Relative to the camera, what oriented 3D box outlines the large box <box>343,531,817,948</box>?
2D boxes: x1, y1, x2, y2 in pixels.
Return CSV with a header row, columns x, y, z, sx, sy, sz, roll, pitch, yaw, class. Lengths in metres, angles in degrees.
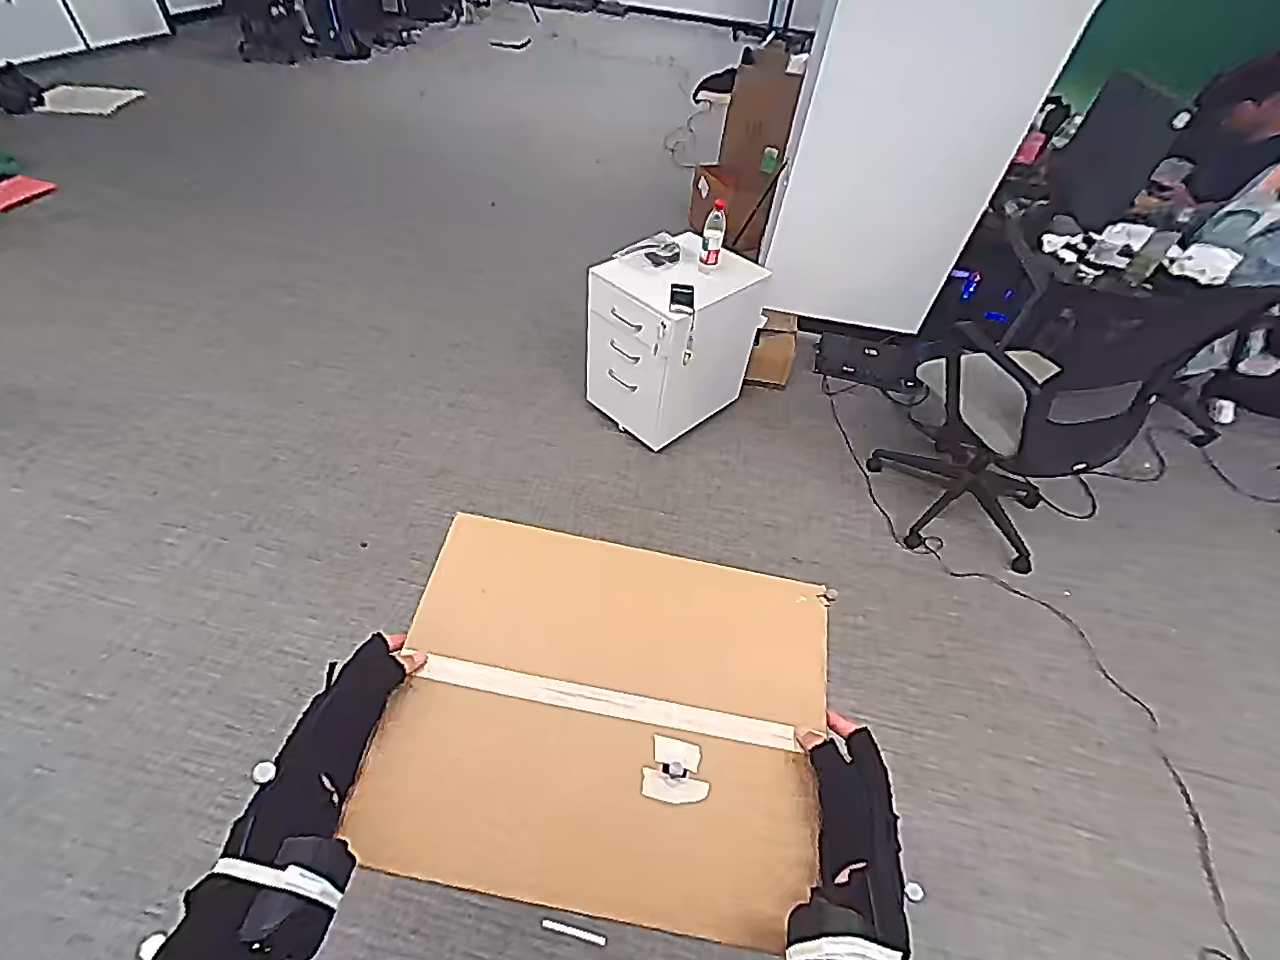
x,y,z,sx,sy,sz,roll,pitch,yaw,class
-0.043,0.291,0.643,0.408,0.320,0.320,11,61,0,large box
